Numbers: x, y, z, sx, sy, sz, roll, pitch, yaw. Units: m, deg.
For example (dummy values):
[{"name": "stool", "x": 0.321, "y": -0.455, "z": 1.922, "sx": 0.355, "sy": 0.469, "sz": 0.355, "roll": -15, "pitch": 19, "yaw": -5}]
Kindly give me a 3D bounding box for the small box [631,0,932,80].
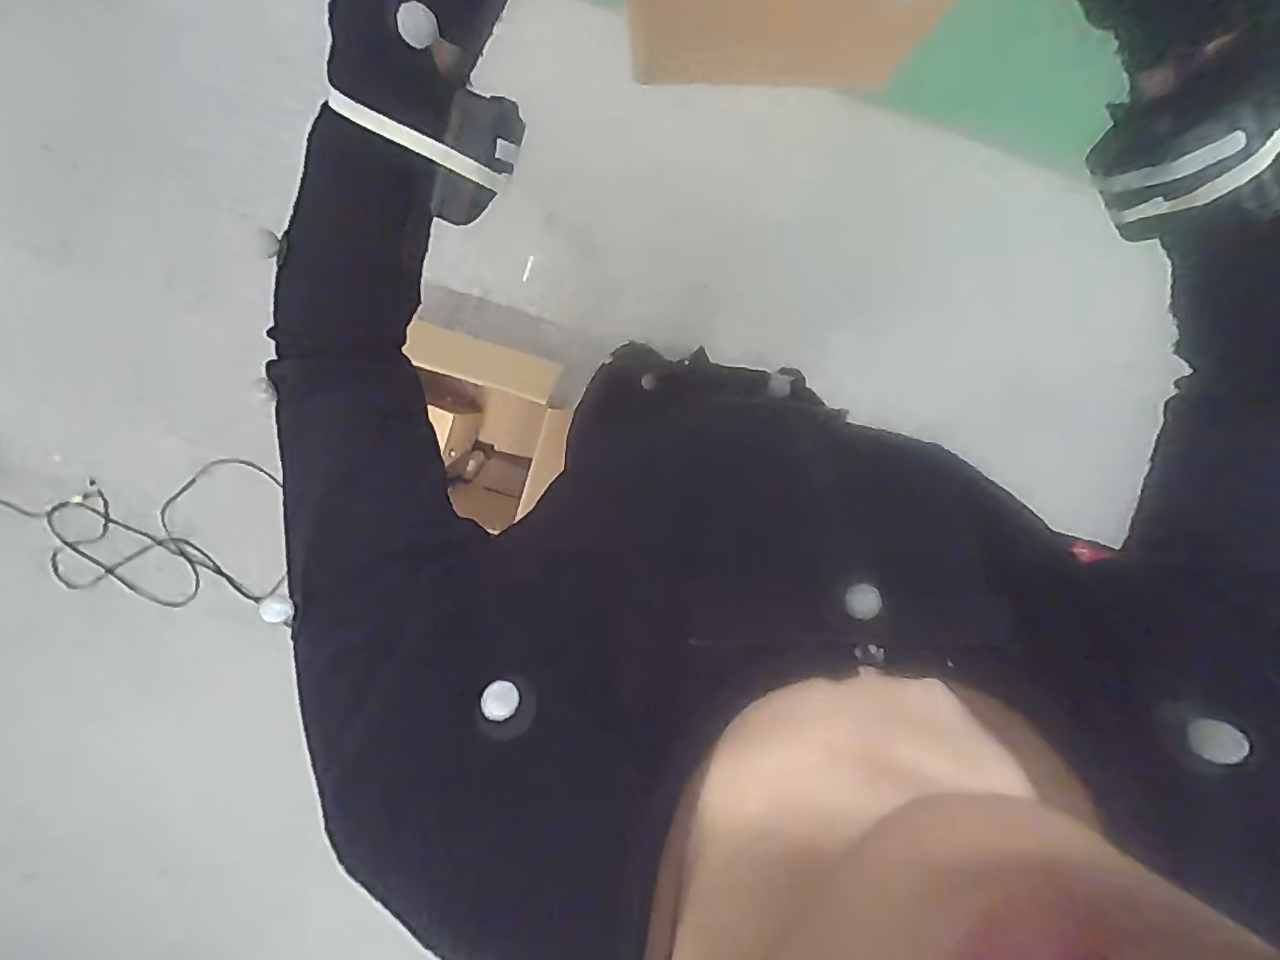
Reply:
[{"name": "small box", "x": 0.083, "y": -0.339, "z": 0.280, "sx": 0.179, "sy": 0.176, "sz": 0.168, "roll": 1, "pitch": 104, "yaw": 0}]
